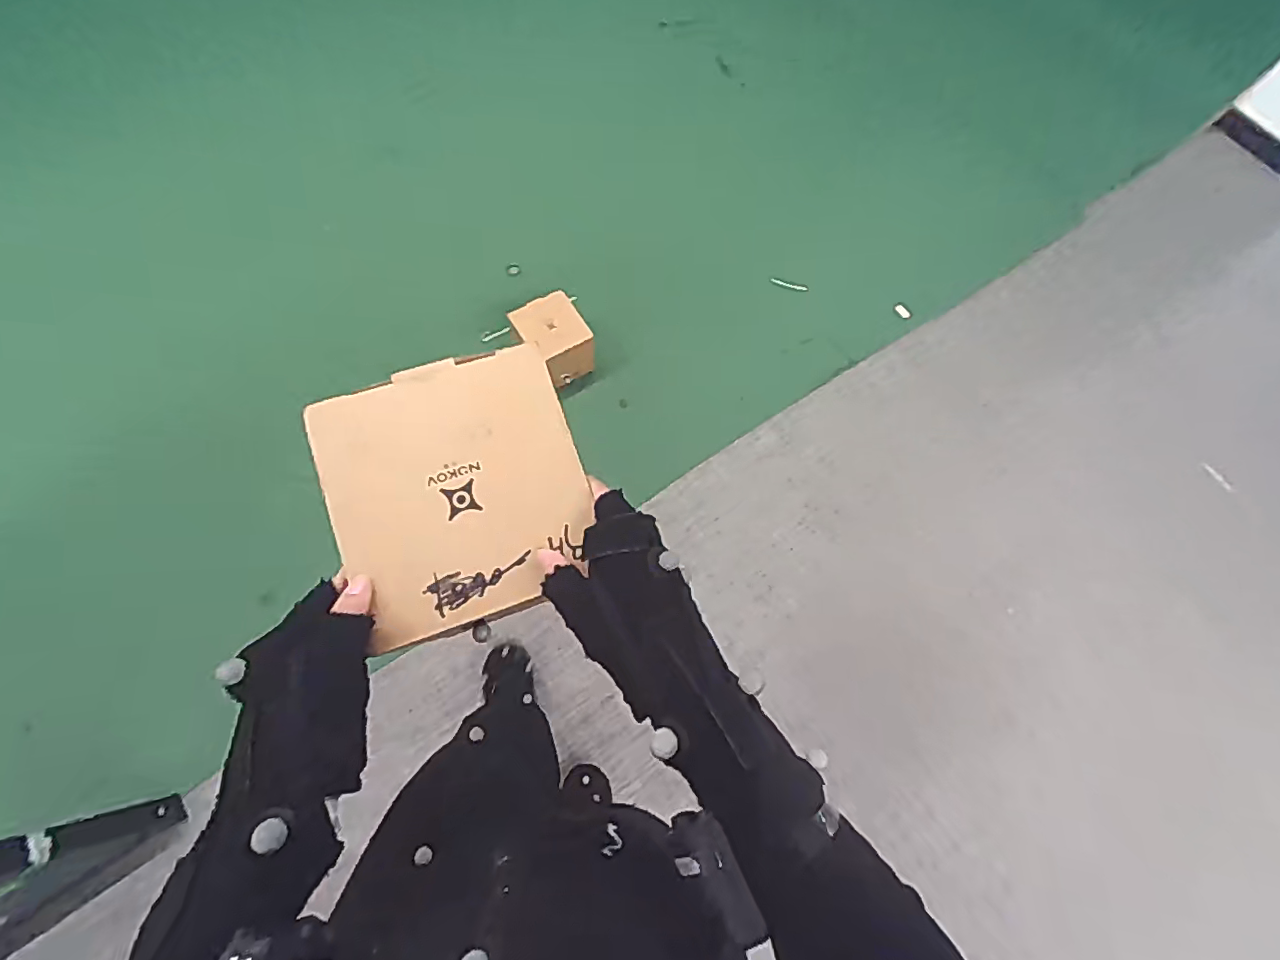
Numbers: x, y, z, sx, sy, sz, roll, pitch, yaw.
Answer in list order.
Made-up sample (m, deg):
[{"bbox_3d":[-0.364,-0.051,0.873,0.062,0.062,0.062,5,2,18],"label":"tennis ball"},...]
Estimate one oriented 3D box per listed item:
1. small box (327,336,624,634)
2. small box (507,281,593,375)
[{"bbox_3d":[-0.121,0.014,0.446,0.168,0.176,0.179,-17,80,-9],"label":"small box"},{"bbox_3d":[-0.240,-0.392,1.463,0.168,0.176,0.179,-29,75,-13],"label":"small box"}]
